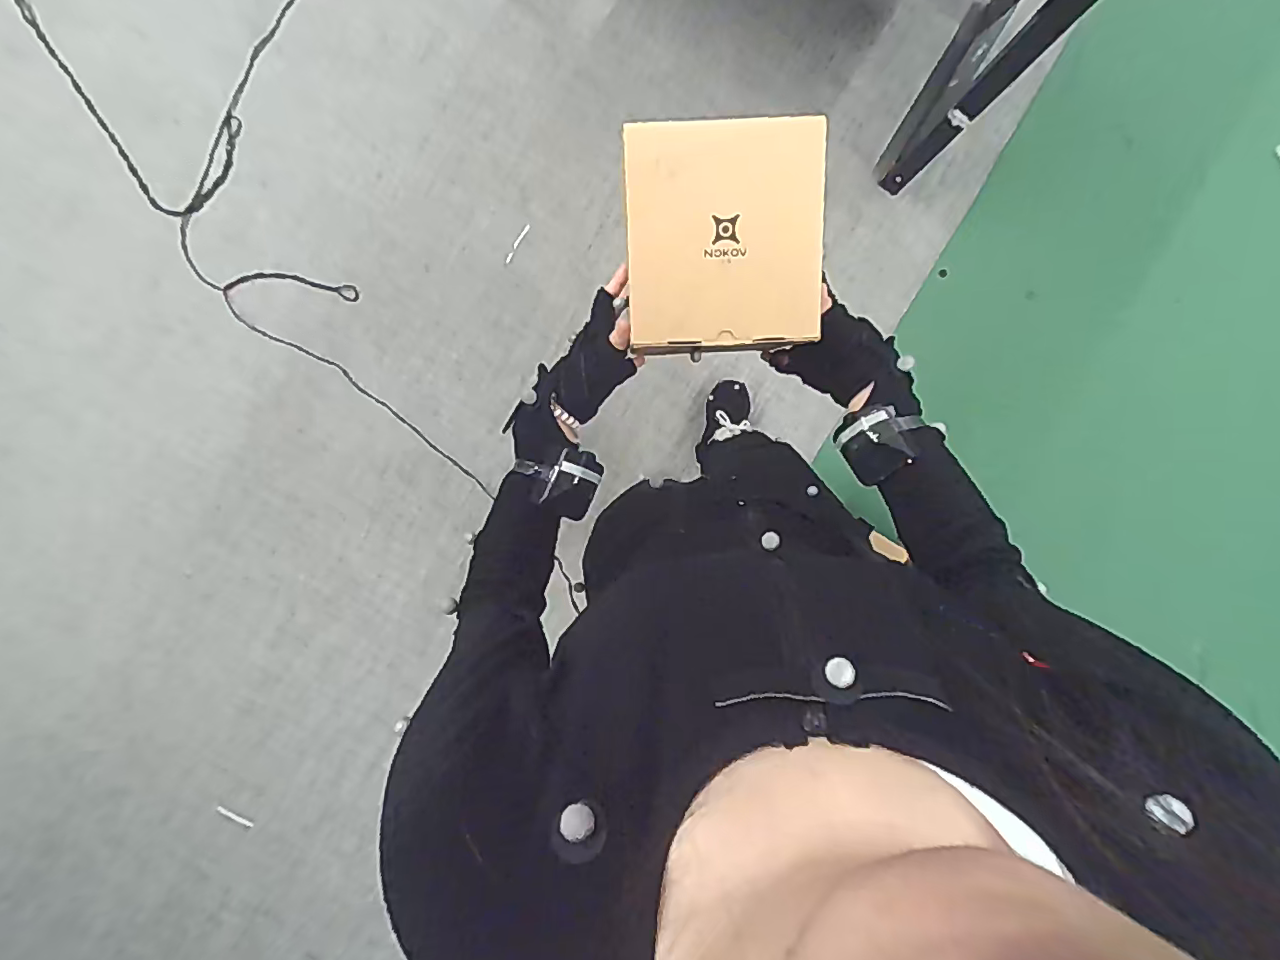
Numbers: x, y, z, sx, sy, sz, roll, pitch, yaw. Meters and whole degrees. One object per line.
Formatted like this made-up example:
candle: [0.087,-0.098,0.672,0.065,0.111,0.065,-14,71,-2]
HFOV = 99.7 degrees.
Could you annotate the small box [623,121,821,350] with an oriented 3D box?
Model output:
small box: [0.067,-0.224,0.537,0.168,0.176,0.179,-2,102,-1]
